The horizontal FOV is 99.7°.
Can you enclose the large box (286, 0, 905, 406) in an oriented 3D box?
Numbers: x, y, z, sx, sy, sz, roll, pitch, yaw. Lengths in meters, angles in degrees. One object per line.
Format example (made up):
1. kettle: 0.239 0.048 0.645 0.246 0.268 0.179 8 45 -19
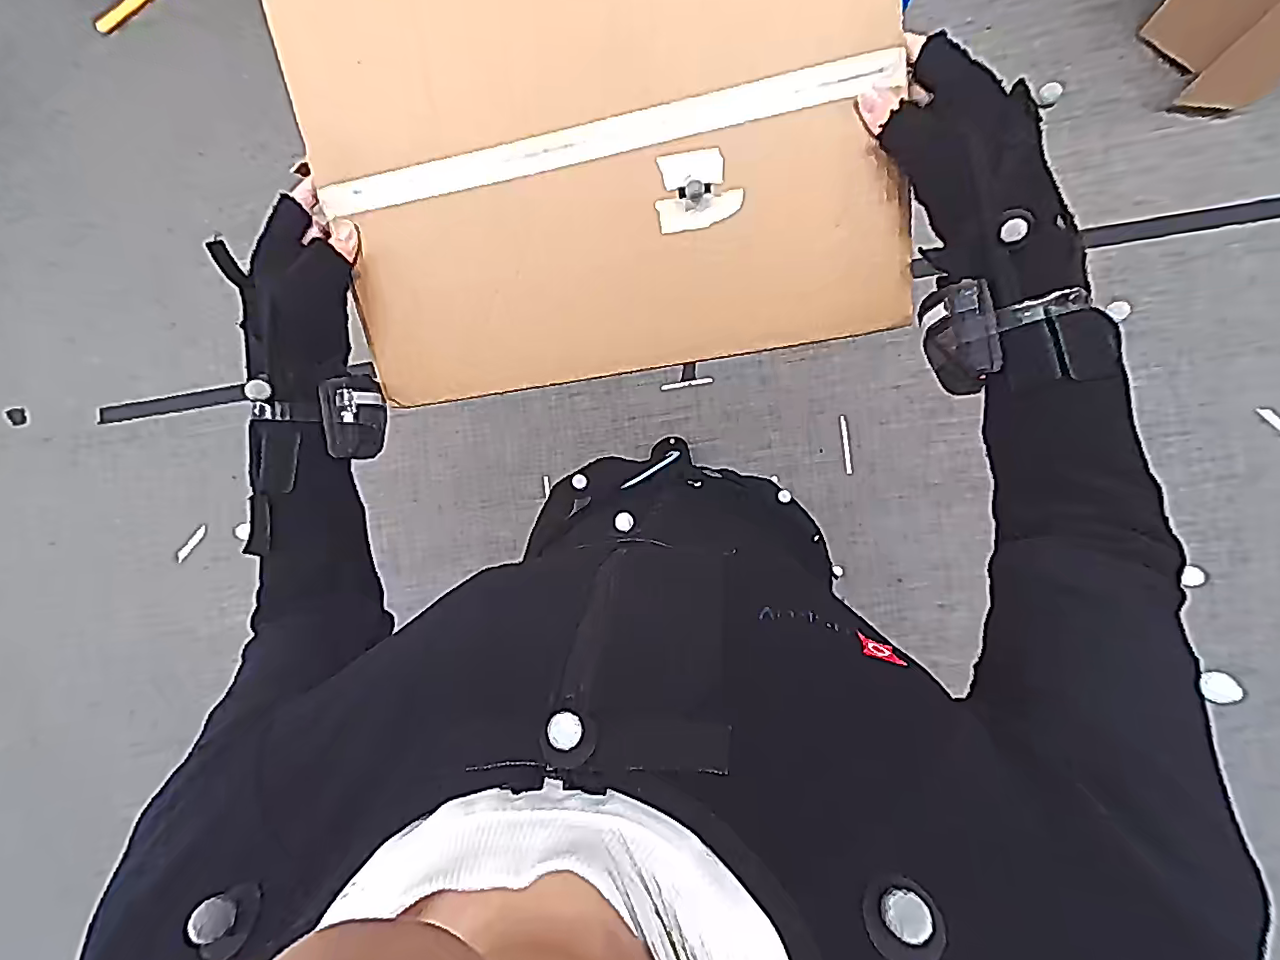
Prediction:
1. large box: -0.014 -0.277 0.524 0.408 0.320 0.320 -8 107 8
